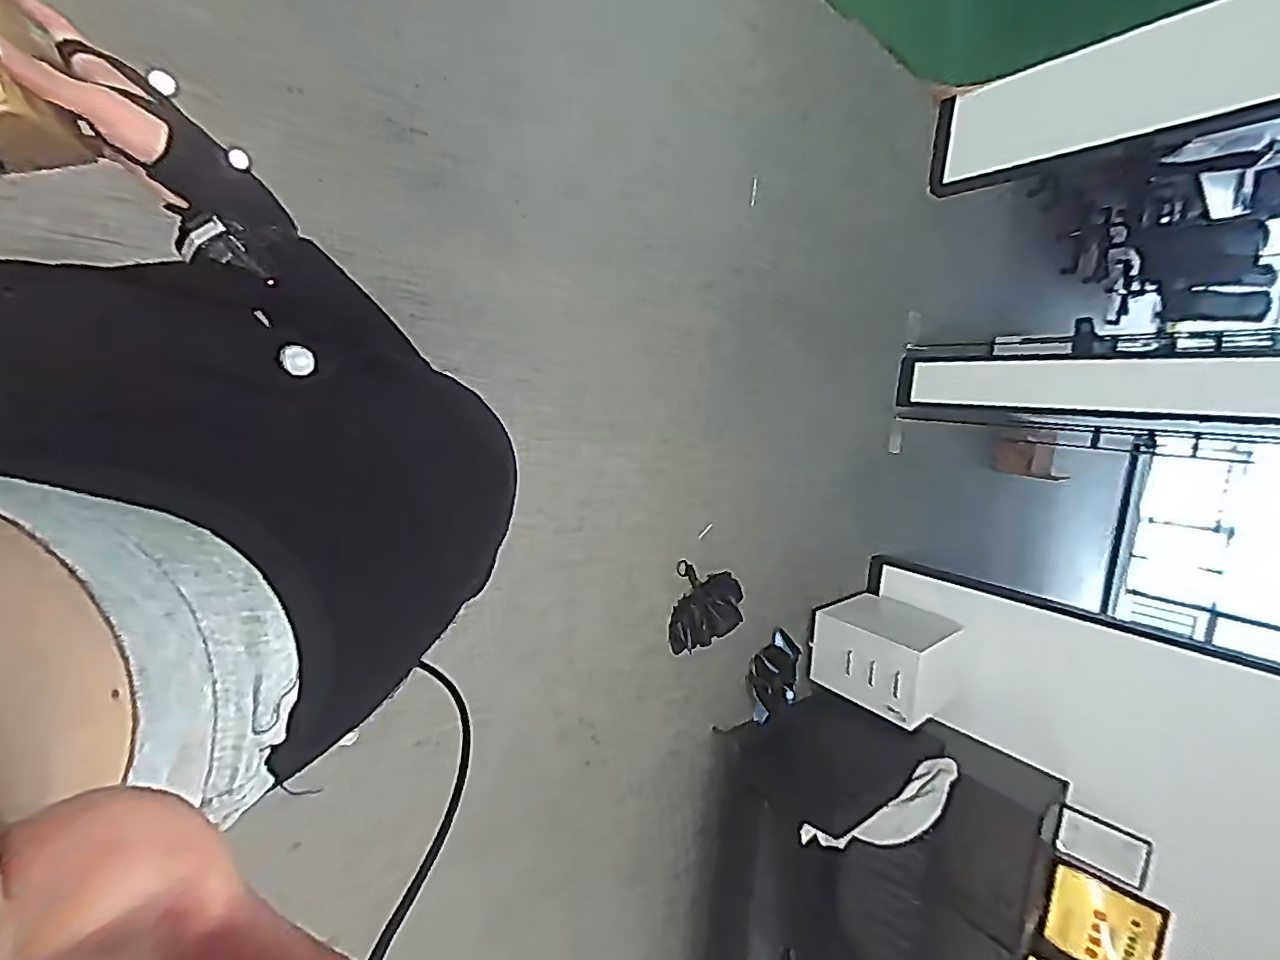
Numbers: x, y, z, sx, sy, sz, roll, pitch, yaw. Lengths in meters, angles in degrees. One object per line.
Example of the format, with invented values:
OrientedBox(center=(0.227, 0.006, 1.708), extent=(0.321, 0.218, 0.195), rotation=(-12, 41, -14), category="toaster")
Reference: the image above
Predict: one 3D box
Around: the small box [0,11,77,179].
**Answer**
OrientedBox(center=(-0.489, -0.273, 0.305), extent=(0.168, 0.176, 0.179), rotation=(-24, 117, -24), category="small box")
